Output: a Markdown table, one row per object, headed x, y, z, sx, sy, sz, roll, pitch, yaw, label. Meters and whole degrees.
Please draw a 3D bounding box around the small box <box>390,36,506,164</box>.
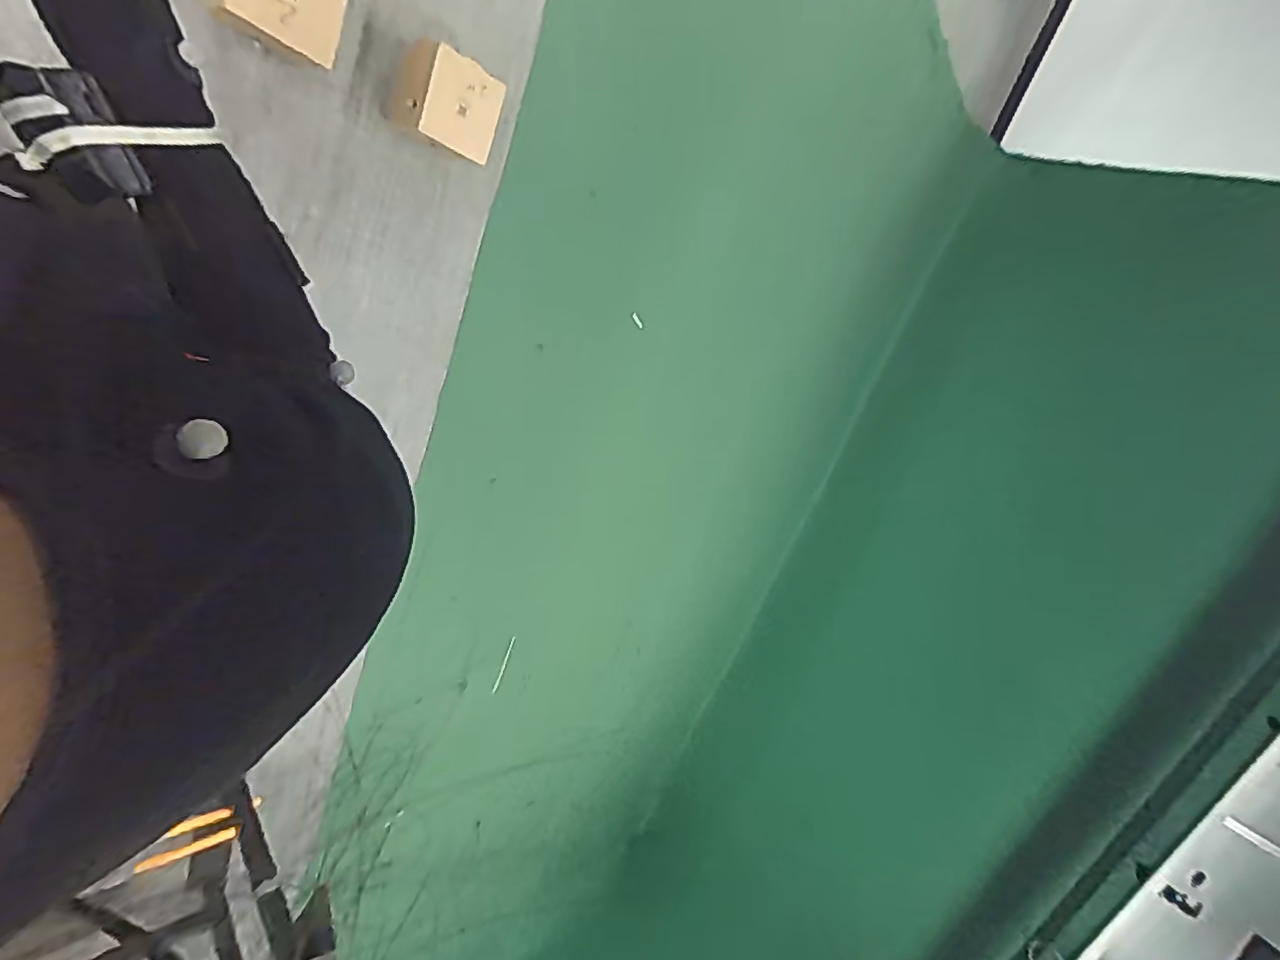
| x | y | z | sx | sy | sz | roll | pitch | yaw | label |
| --- | --- | --- | --- | --- | --- | --- | --- | --- | --- |
| -0.436 | -0.845 | 1.210 | 0.168 | 0.176 | 0.179 | 2 | 116 | -51 | small box |
